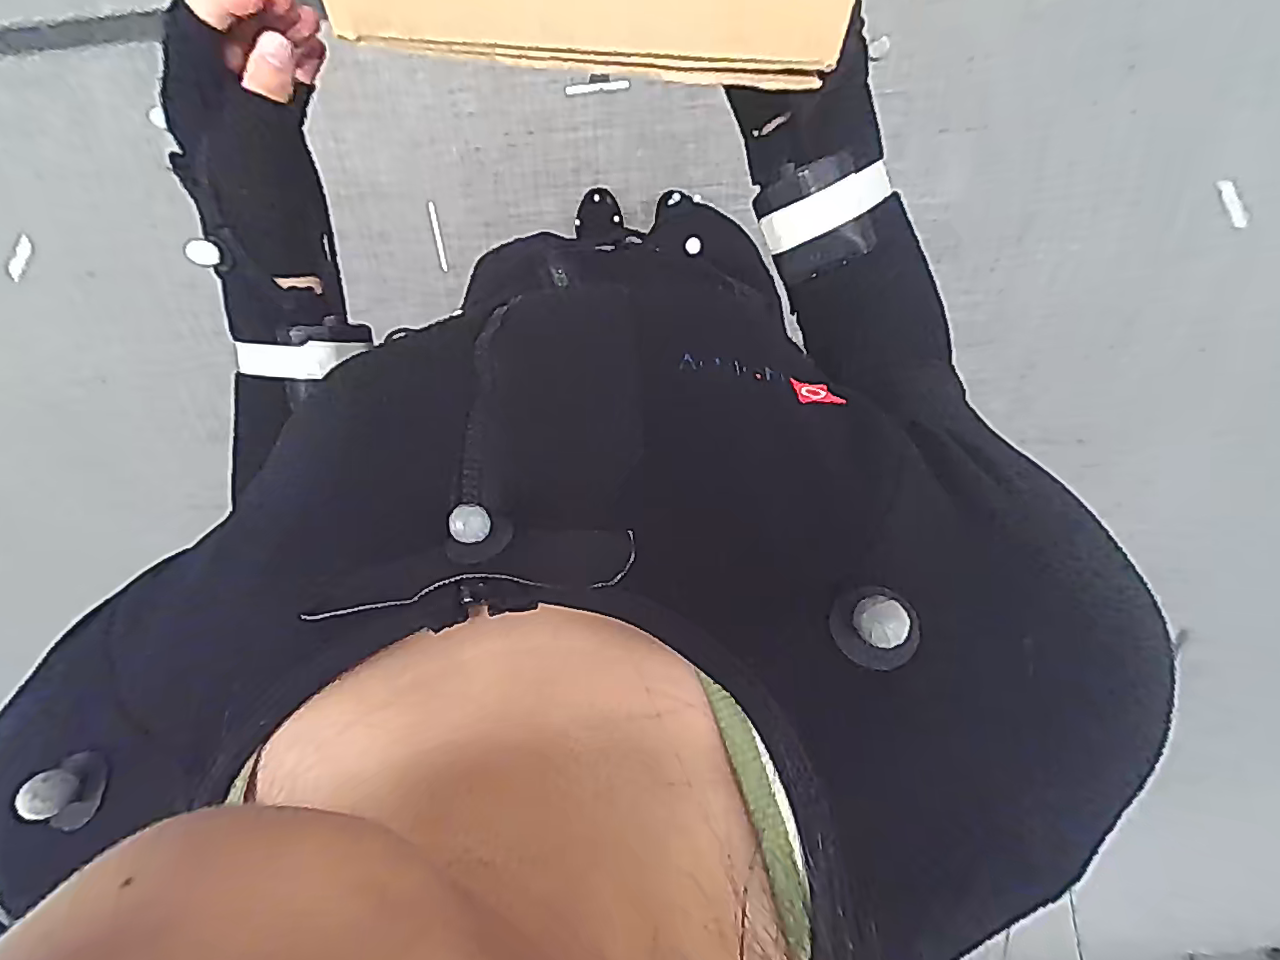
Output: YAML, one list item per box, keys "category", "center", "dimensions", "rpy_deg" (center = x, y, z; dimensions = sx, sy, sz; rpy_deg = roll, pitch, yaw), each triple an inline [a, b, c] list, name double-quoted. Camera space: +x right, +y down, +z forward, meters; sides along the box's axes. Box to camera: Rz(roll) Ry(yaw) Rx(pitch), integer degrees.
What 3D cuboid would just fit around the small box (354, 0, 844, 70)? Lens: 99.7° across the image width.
- category: "small box"
  center: [-0.015, -0.263, 0.171]
  dimensions: [0.179, 0.168, 0.176]
  rpy_deg: [-1, 145, -3]
